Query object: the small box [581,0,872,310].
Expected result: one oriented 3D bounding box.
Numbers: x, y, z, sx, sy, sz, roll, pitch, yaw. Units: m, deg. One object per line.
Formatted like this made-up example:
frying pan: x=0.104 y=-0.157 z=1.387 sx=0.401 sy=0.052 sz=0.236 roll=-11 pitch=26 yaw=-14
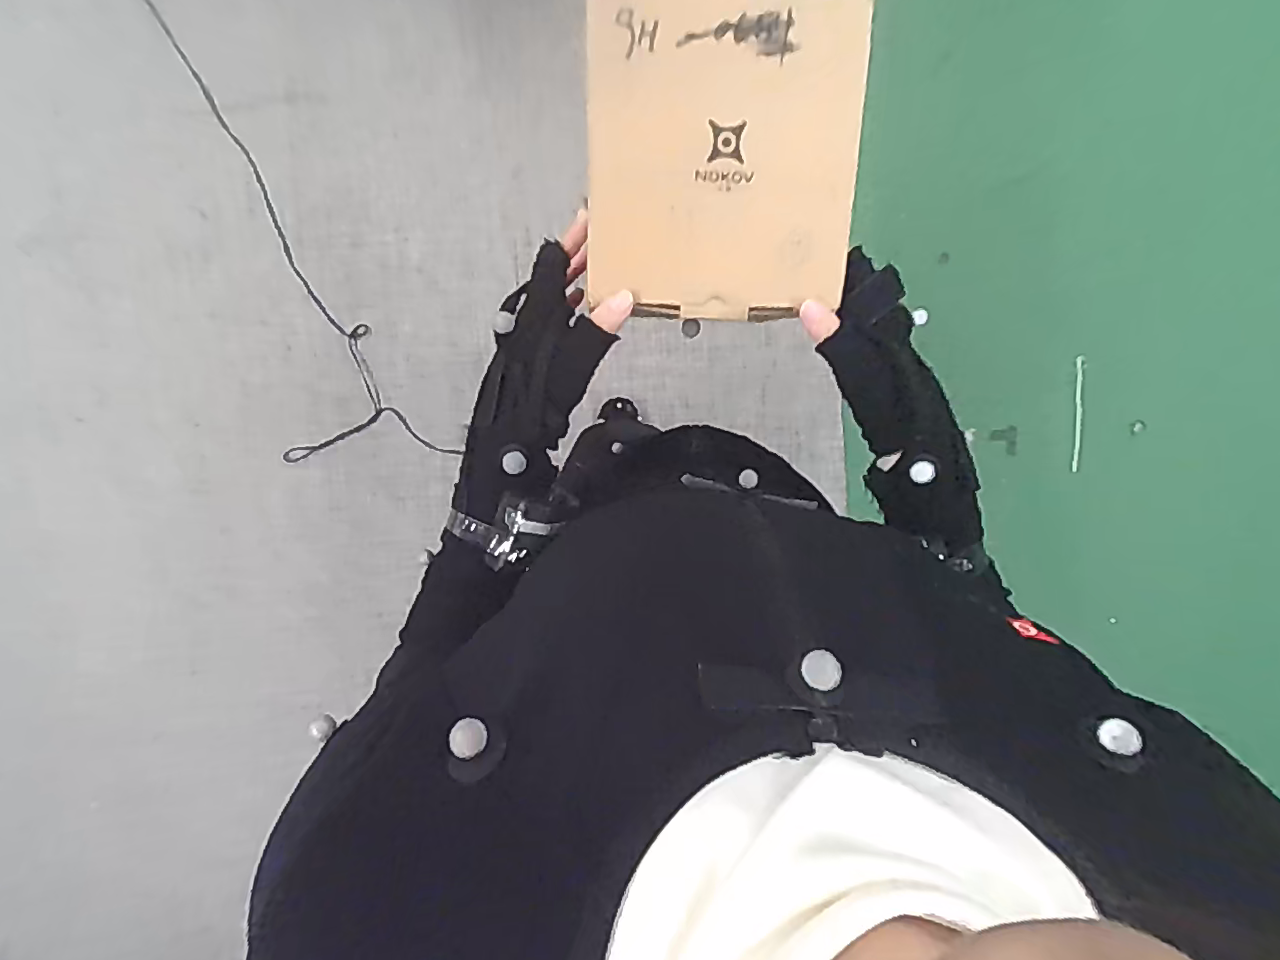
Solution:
small box: x=0.045 y=-0.220 z=0.400 sx=0.168 sy=0.176 sz=0.179 roll=0 pitch=107 yaw=-3
